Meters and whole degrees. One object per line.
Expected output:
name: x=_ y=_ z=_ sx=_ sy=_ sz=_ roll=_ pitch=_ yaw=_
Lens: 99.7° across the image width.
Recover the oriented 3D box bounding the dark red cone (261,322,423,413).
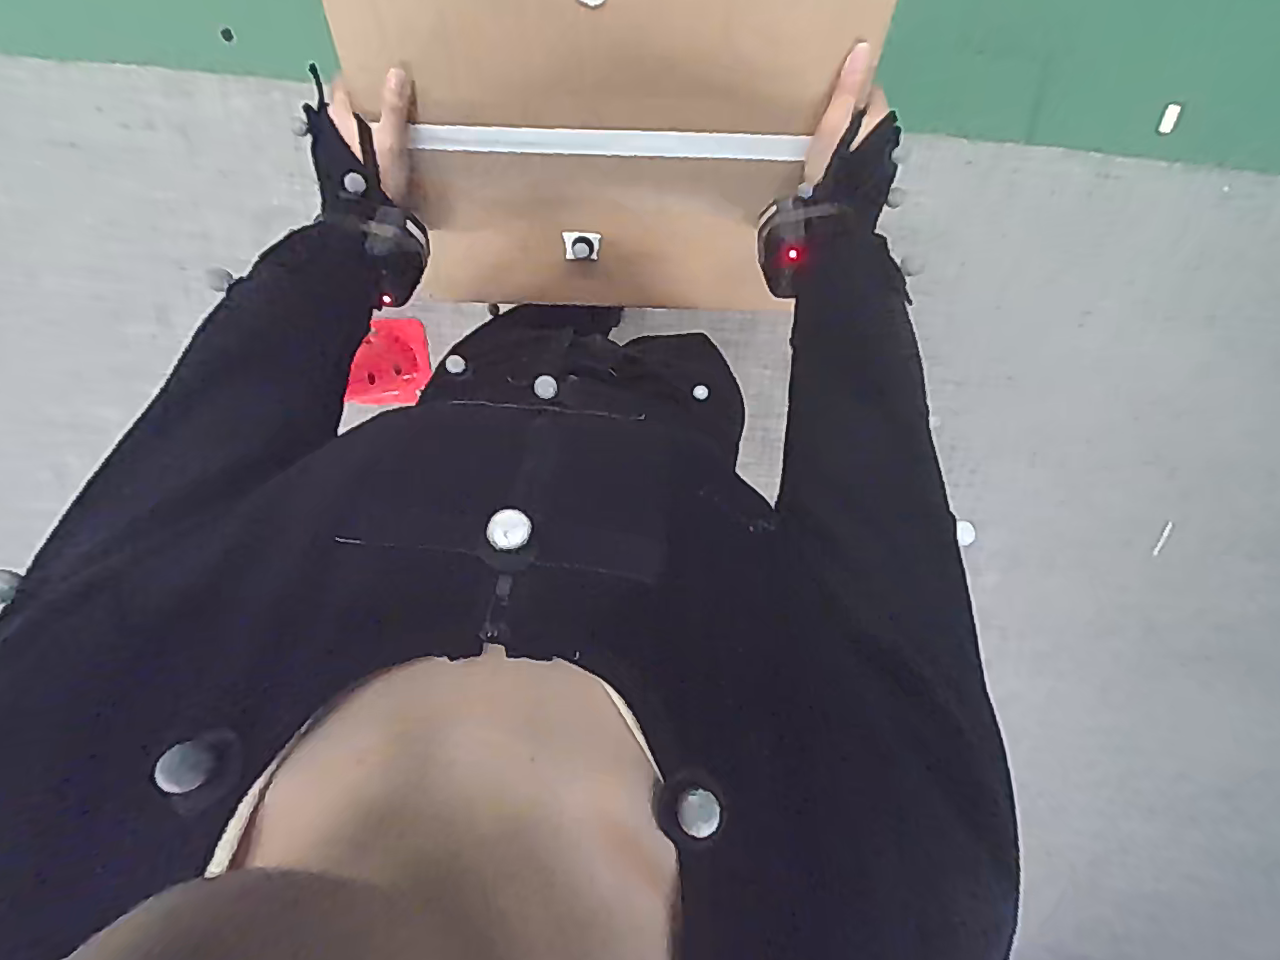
dark red cone: x=-0.606 y=-0.202 z=1.081 sx=0.202 sy=0.394 sz=0.201 roll=-2 pitch=109 yaw=1
